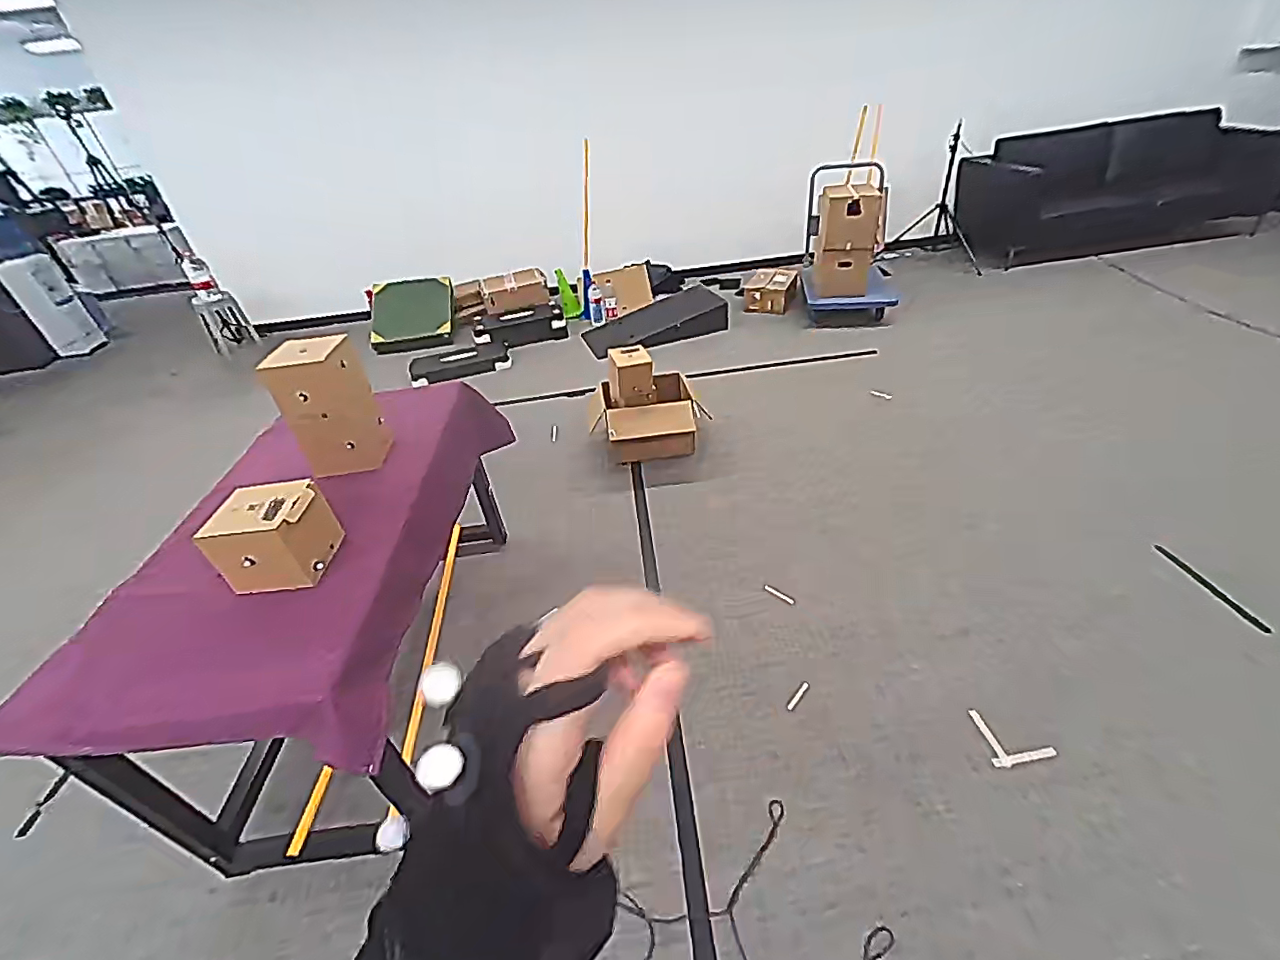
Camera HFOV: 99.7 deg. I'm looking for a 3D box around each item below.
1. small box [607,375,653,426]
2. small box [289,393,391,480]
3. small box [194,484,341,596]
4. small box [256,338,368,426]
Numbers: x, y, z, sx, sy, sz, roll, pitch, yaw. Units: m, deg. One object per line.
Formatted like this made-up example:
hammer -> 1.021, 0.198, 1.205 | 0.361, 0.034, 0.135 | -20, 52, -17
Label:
small box -> -0.044, -0.386, 2.637 | 0.179, 0.176, 0.168 | -19, 42, -20
small box -> -0.825, -0.121, 1.510 | 0.179, 0.176, 0.168 | -9, 37, -1
small box -> -0.789, 0.131, 1.171 | 0.179, 0.176, 0.168 | -7, 37, 2
small box -> -0.842, -0.252, 1.413 | 0.168, 0.176, 0.179 | -7, 36, -1
